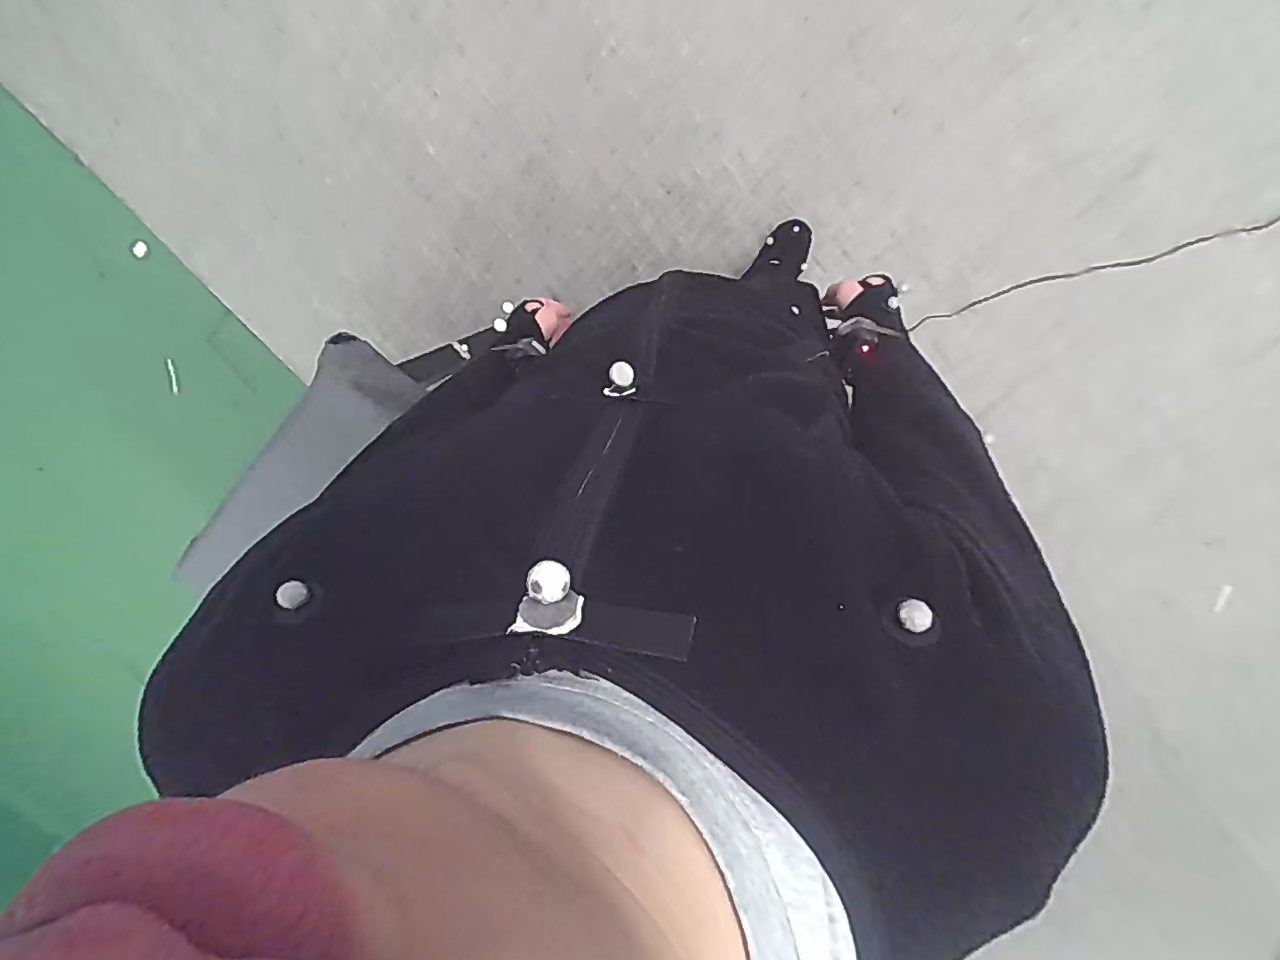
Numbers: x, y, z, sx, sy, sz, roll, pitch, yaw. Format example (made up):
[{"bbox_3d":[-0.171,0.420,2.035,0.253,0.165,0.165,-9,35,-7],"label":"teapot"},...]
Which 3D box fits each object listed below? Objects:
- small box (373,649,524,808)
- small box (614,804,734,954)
[{"bbox_3d":[-0.344,0.456,1.006,0.179,0.176,0.168,-39,104,20],"label":"small box"},{"bbox_3d":[0.071,0.807,1.106,0.179,0.176,0.168,-41,102,21],"label":"small box"}]
